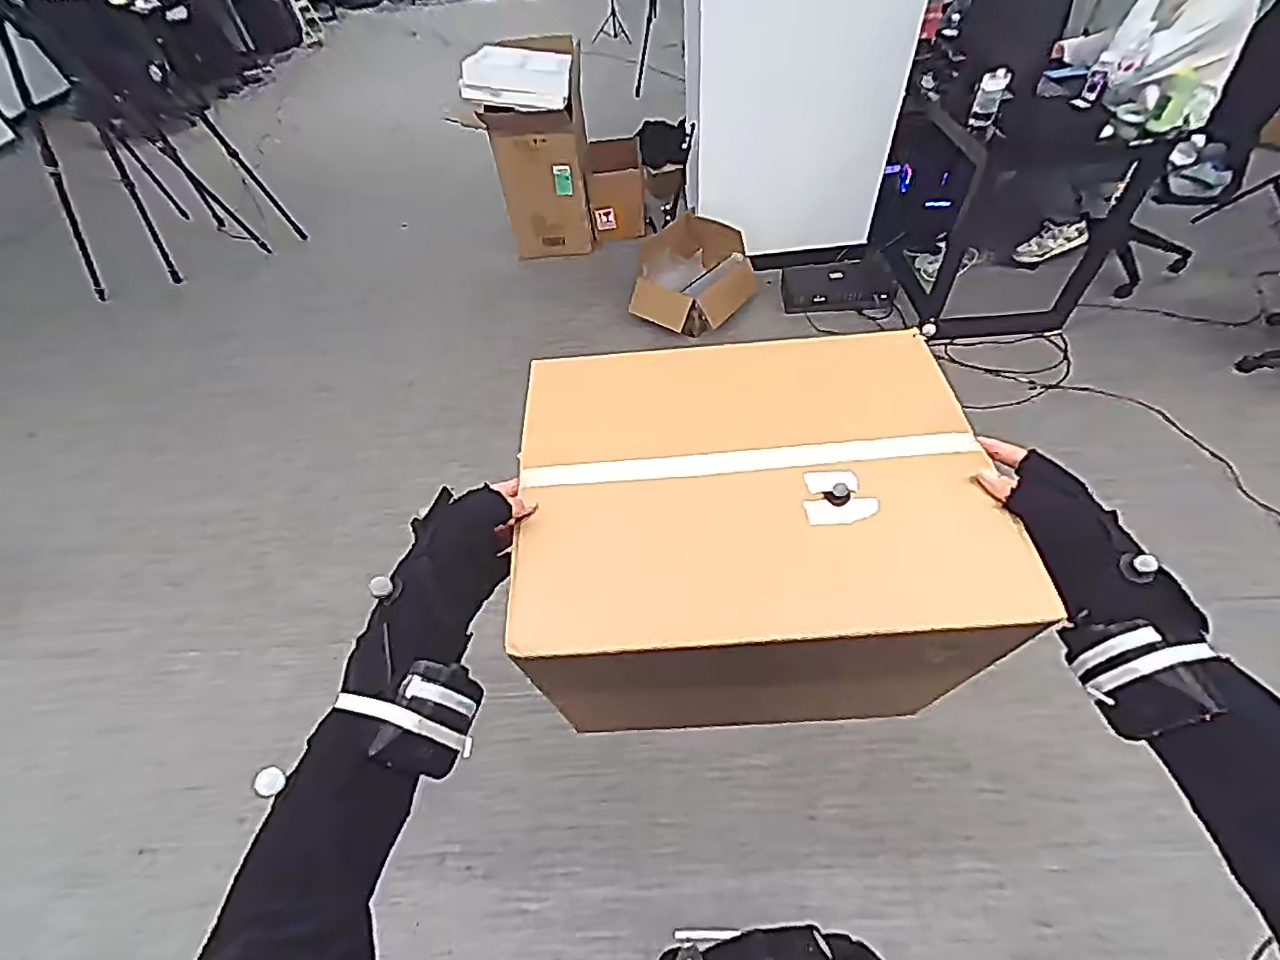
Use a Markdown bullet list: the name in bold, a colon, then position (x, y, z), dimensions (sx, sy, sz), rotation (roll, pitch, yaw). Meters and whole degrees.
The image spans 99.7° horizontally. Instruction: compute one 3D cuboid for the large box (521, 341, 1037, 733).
- **large box**: position (0.102, 0.078, 0.614), dimensions (0.408, 0.320, 0.320), rotation (-5, 55, 1)
